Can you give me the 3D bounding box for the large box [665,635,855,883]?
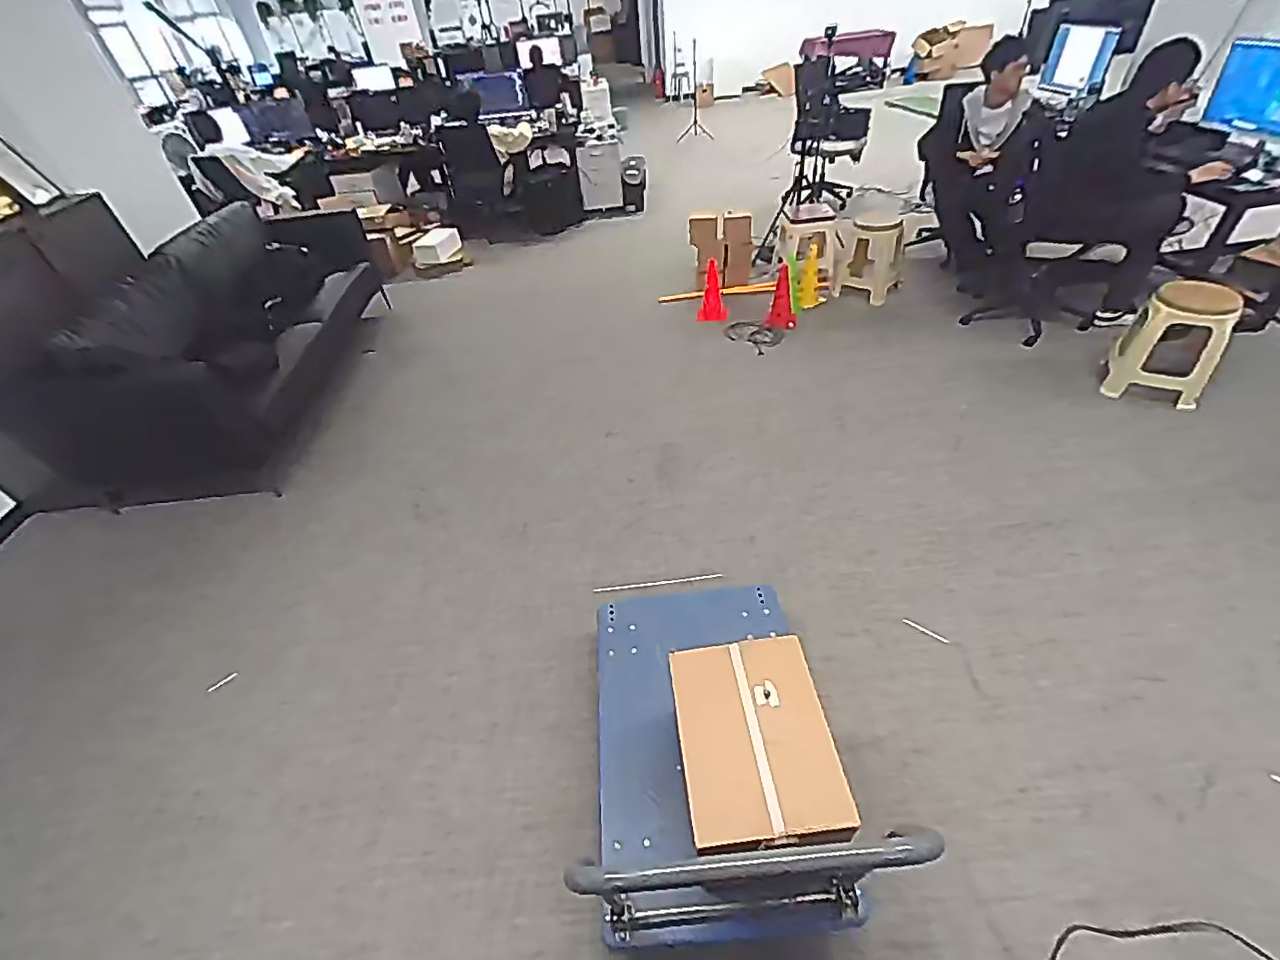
[{"bbox_3d":[0.246,0.631,1.242,0.320,0.320,0.408,-7,42,-1],"label":"large box"}]
